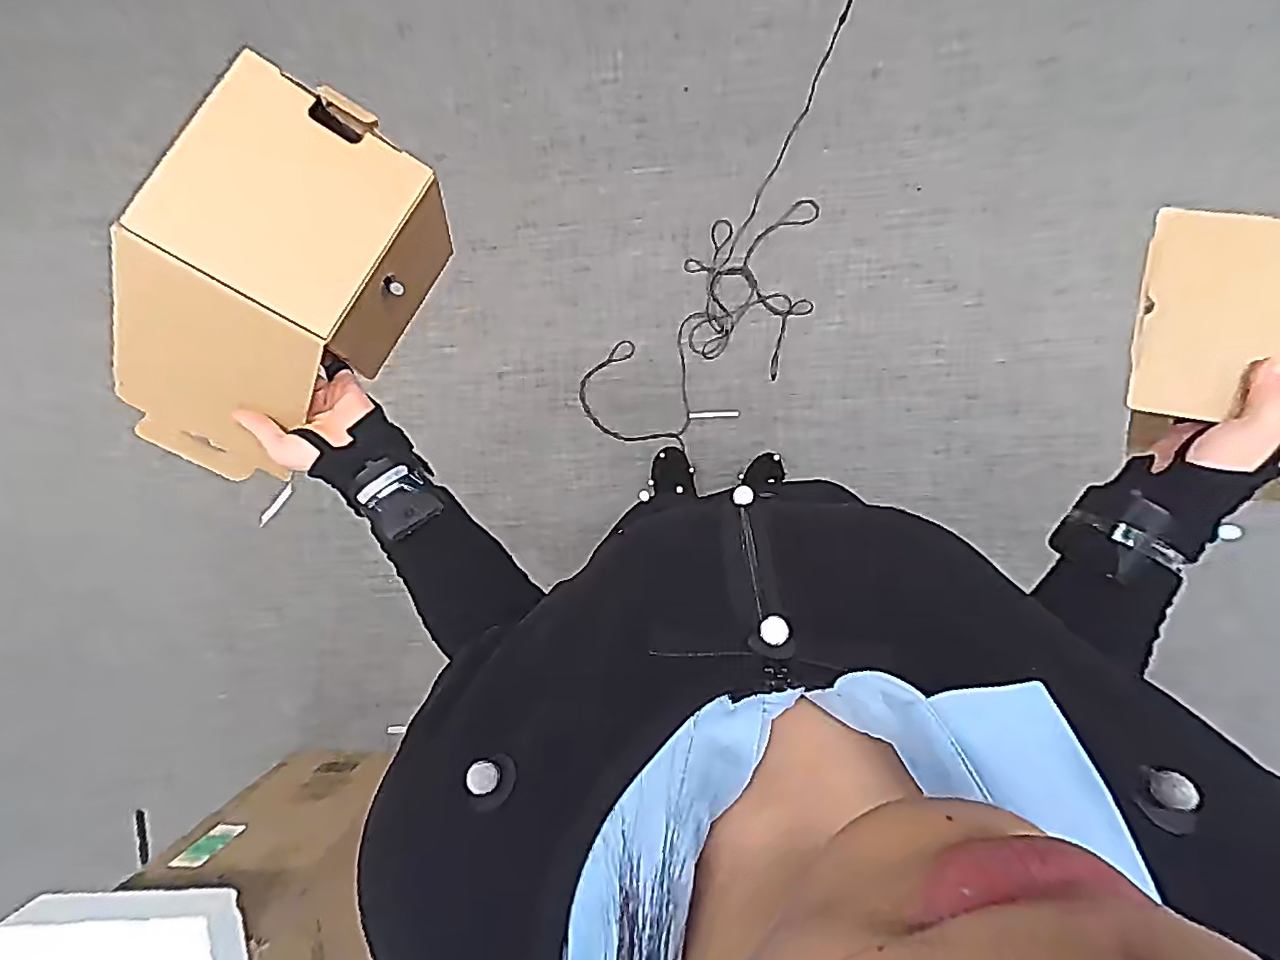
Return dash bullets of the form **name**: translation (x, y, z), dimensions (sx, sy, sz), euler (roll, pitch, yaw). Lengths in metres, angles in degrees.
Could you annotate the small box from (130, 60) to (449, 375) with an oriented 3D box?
- **small box**: translation (-0.301, -0.223, 0.516), dimensions (0.168, 0.176, 0.179), euler (30, 82, -11)
